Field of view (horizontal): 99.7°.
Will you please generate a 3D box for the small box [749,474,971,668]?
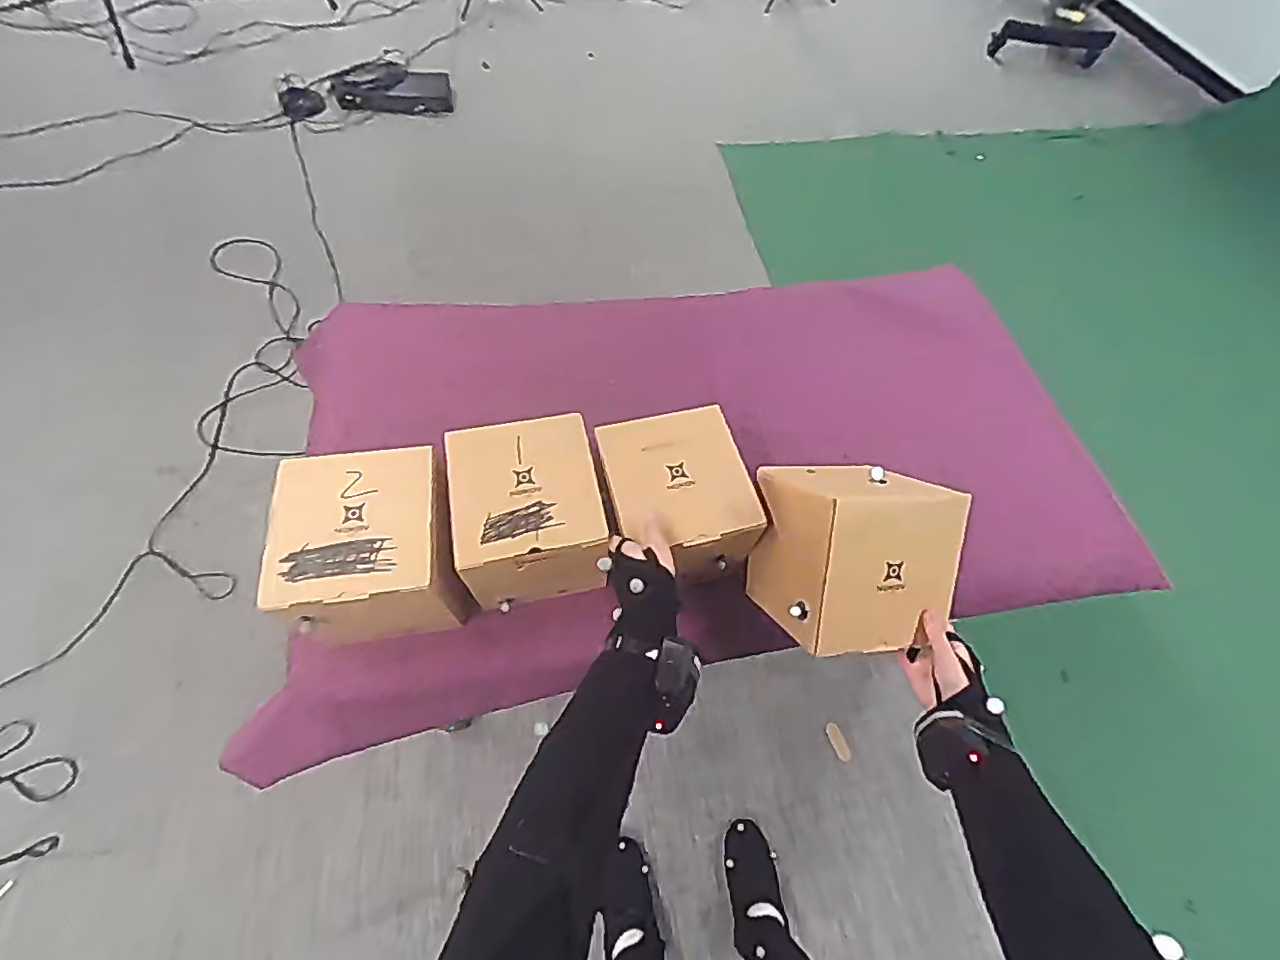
[{"bbox_3d":[0.240,0.090,0.631,0.168,0.176,0.179,-1,104,-15],"label":"small box"}]
